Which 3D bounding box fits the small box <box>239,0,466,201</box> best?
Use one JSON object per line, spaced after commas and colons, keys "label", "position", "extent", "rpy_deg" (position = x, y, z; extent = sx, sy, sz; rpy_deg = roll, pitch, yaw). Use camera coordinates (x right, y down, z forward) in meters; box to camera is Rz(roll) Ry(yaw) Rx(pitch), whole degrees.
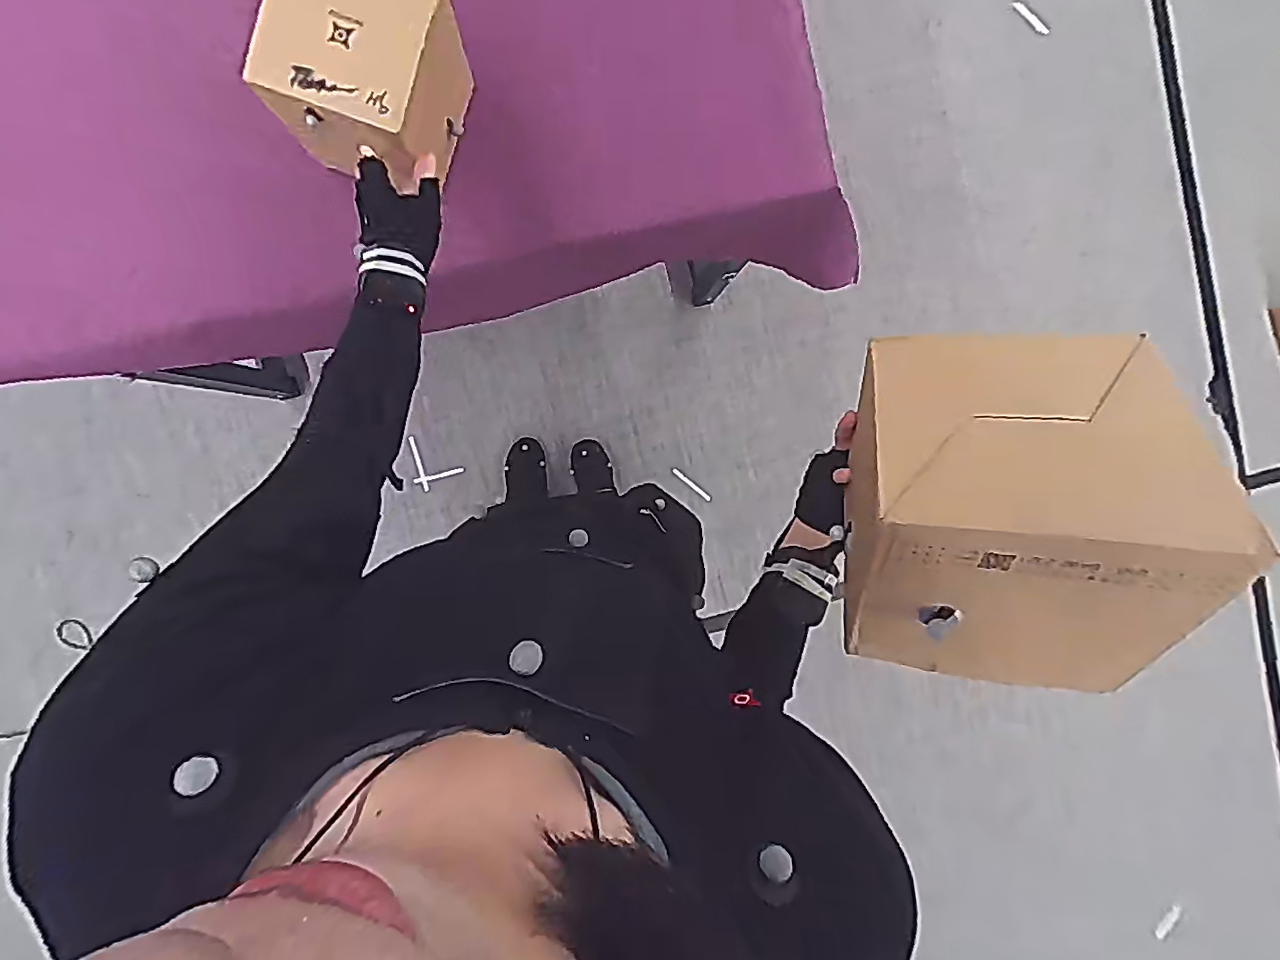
{"label": "small box", "position": [-0.318, -0.477, 0.642], "extent": [0.168, 0.176, 0.179], "rpy_deg": [18, 89, -7]}

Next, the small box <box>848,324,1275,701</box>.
{"label": "small box", "position": [0.235, 0.016, 0.358], "extent": [0.168, 0.176, 0.179], "rpy_deg": [5, 49, 16]}
